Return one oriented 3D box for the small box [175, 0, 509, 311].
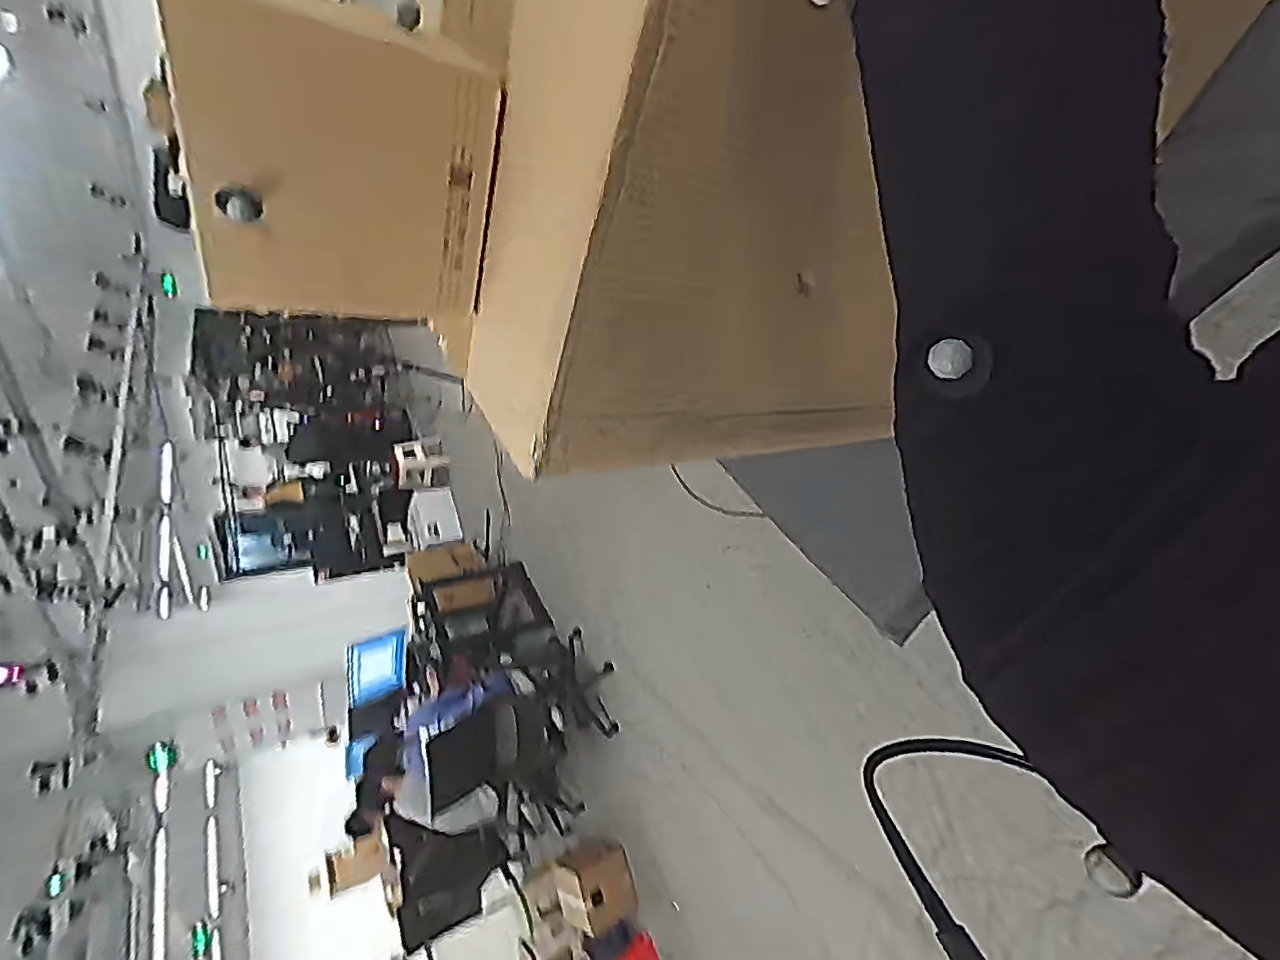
[{"bbox_3d":[-0.211,-0.236,0.393,0.179,0.176,0.168,54,136,37],"label":"small box"}]
